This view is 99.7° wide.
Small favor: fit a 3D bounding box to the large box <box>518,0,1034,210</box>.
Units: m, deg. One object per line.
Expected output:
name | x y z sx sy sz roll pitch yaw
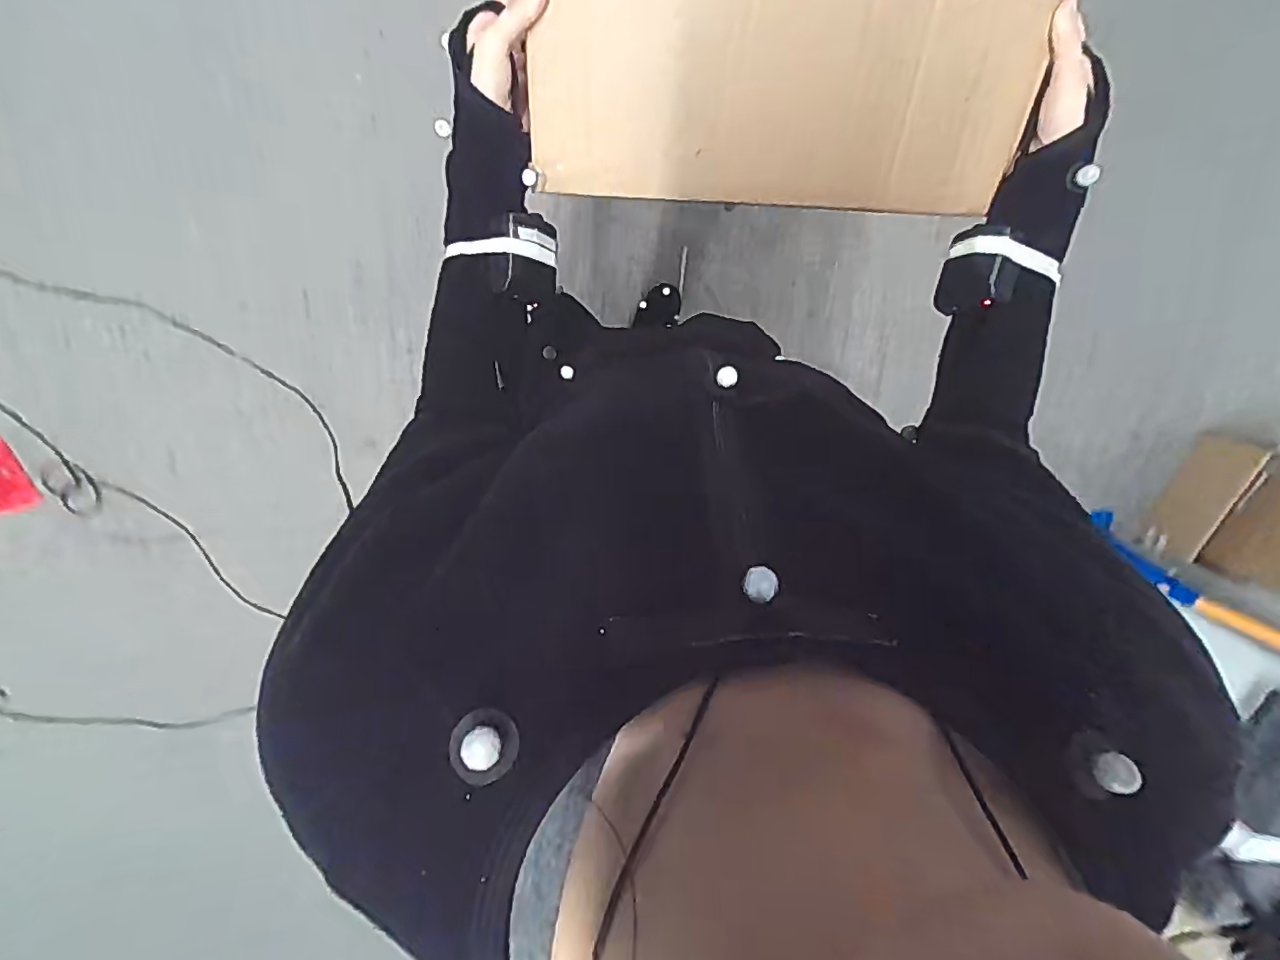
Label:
large box | 0.102 -0.453 0.528 0.408 0.320 0.320 0 120 -3
